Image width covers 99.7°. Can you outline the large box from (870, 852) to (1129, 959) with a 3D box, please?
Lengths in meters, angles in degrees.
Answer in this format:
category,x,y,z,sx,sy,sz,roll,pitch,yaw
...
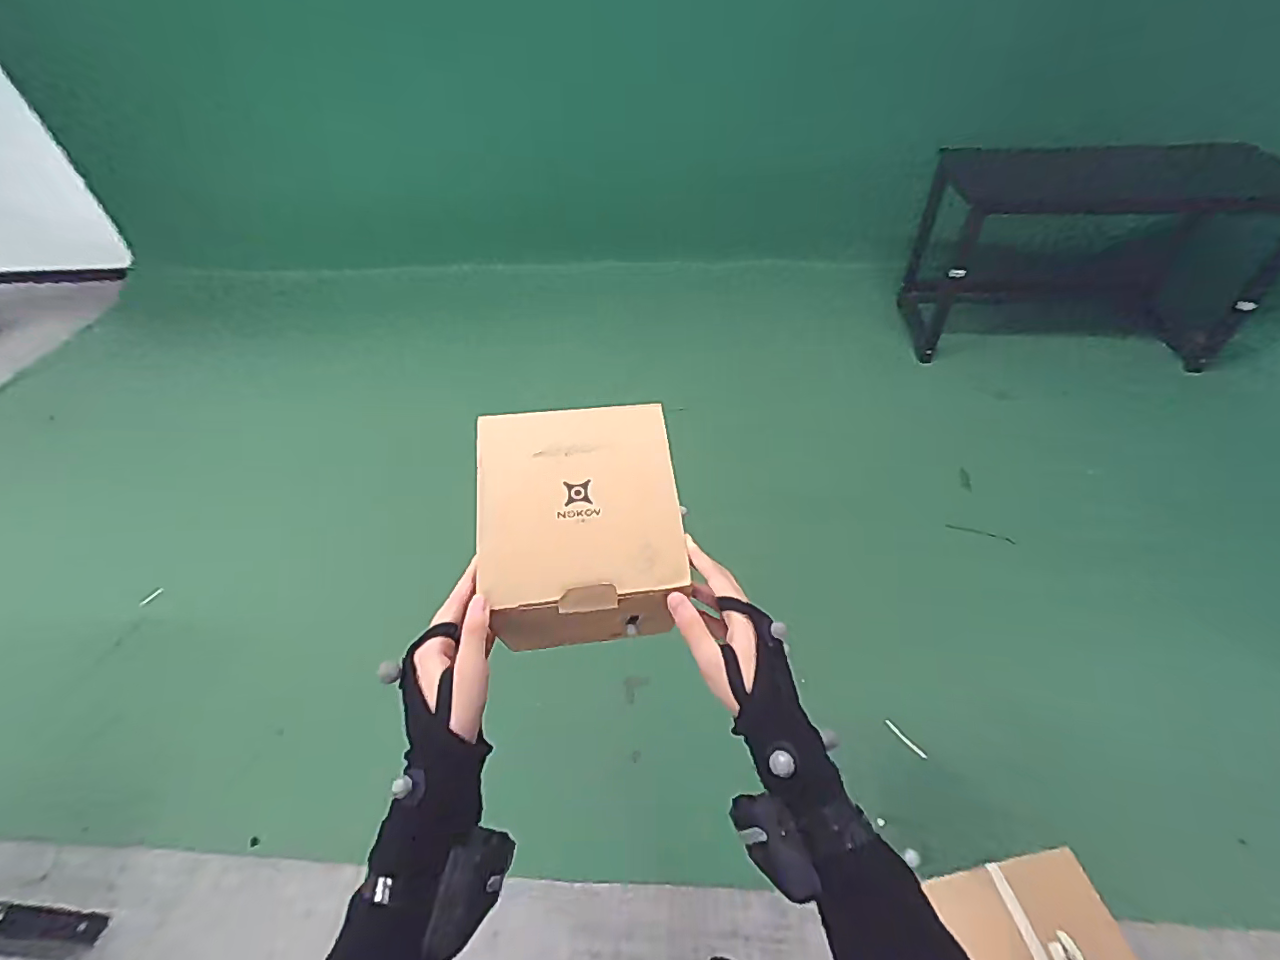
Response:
category,x,y,z,sx,sy,sz,roll,pitch,yaw
large box,0.666,0.946,0.938,0.320,0.320,0.408,-9,45,-6

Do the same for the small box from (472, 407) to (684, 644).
category,x,y,z,sx,sy,sz,roll,pitch,yaw
small box,-0.059,0.053,0.517,0.168,0.176,0.179,-5,63,-7
